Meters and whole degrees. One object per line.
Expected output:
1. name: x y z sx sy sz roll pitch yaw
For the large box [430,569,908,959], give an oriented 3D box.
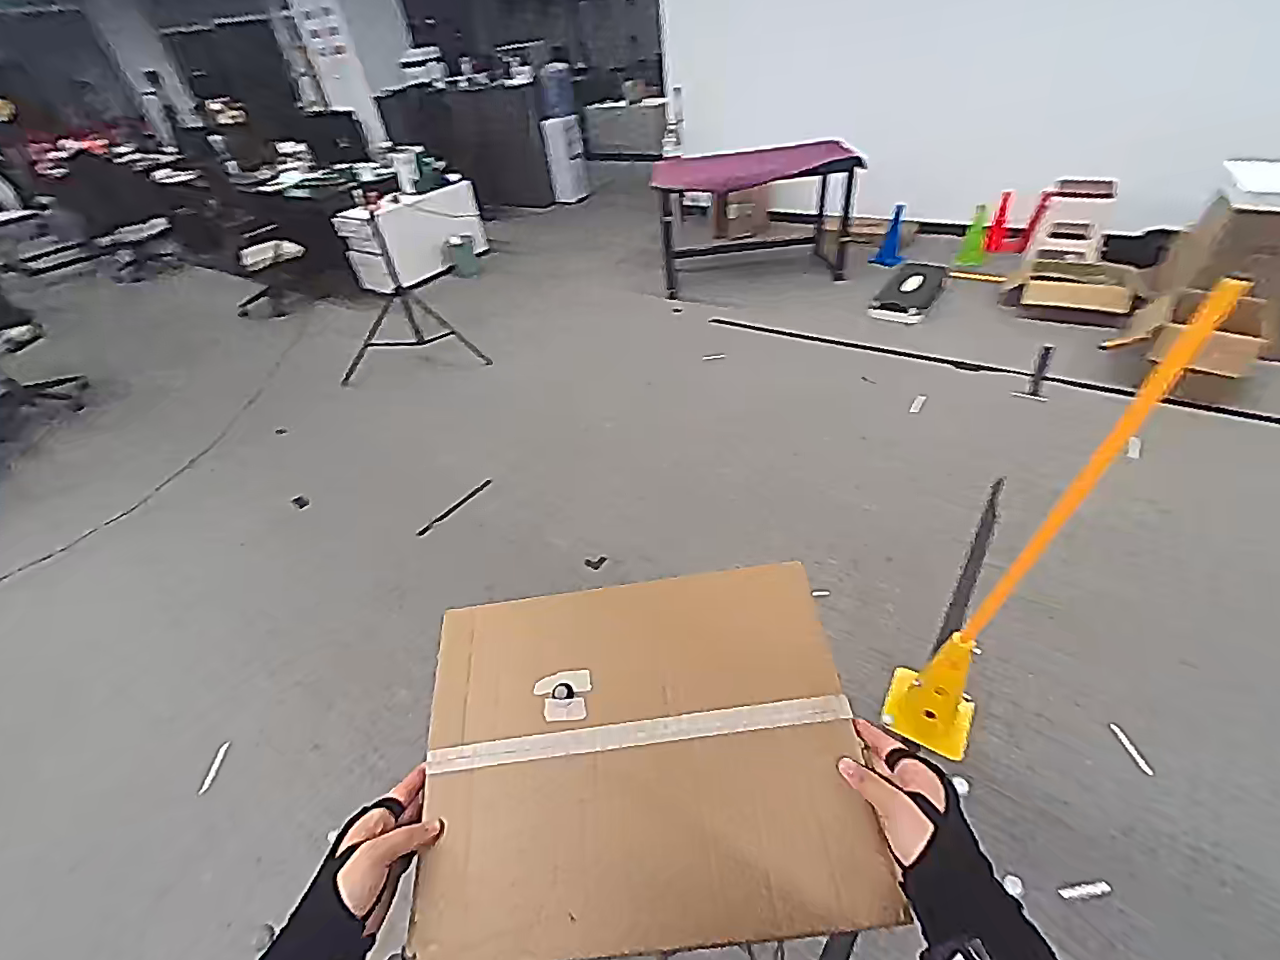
1. large box: 0.026 0.339 0.645 0.408 0.320 0.320 -9 52 3
